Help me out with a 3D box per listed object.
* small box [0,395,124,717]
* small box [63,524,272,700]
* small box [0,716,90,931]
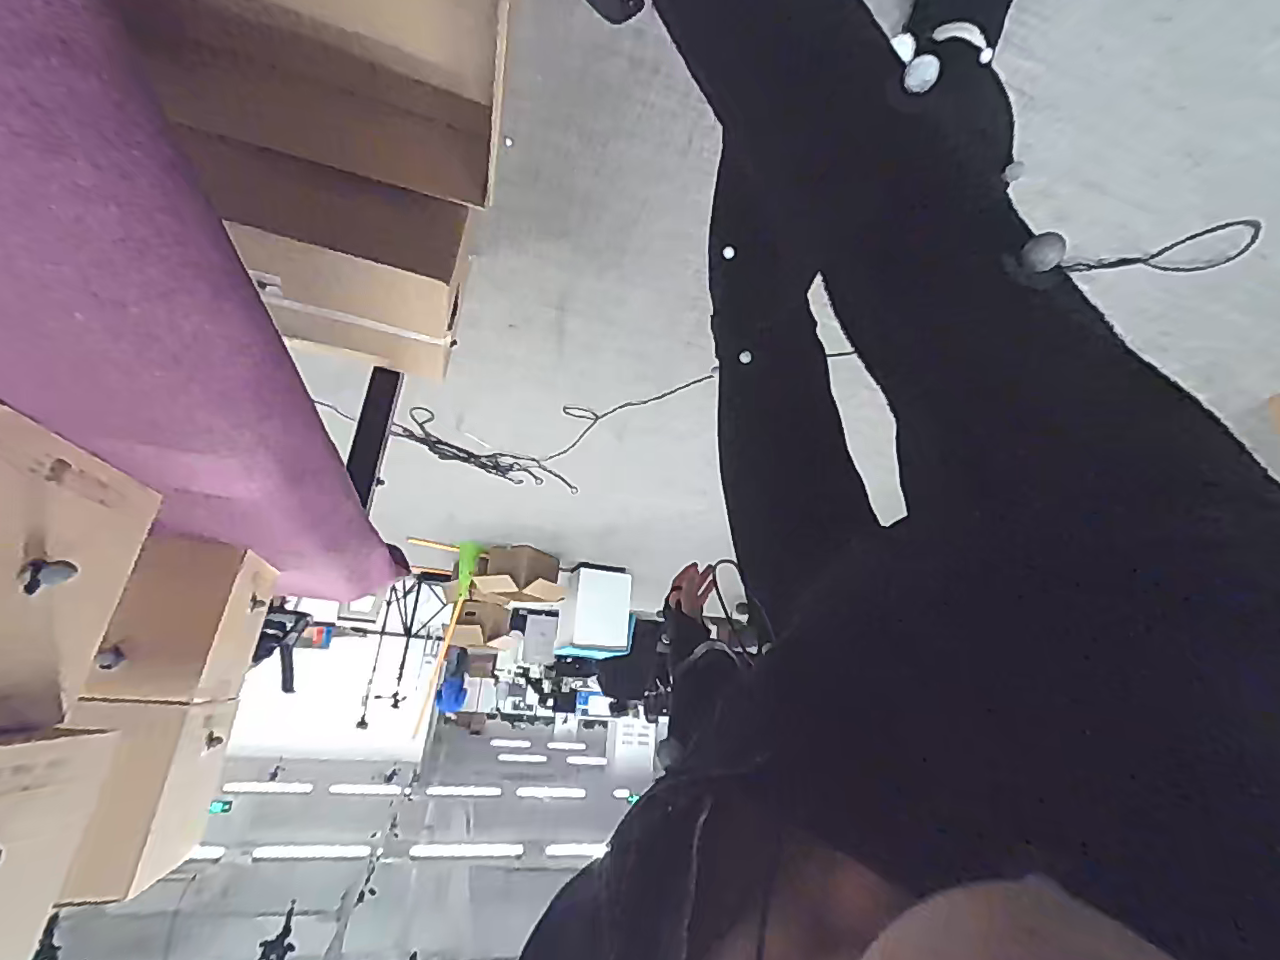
[{"bbox_3d":[-0.435,0.035,0.289,0.179,0.176,0.168,9,158,-12],"label":"small box"},{"bbox_3d":[-0.552,0.150,0.605,0.179,0.176,0.168,11,157,-18],"label":"small box"},{"bbox_3d":[-0.427,0.195,0.240,0.179,0.176,0.168,7,159,-7],"label":"small box"}]
